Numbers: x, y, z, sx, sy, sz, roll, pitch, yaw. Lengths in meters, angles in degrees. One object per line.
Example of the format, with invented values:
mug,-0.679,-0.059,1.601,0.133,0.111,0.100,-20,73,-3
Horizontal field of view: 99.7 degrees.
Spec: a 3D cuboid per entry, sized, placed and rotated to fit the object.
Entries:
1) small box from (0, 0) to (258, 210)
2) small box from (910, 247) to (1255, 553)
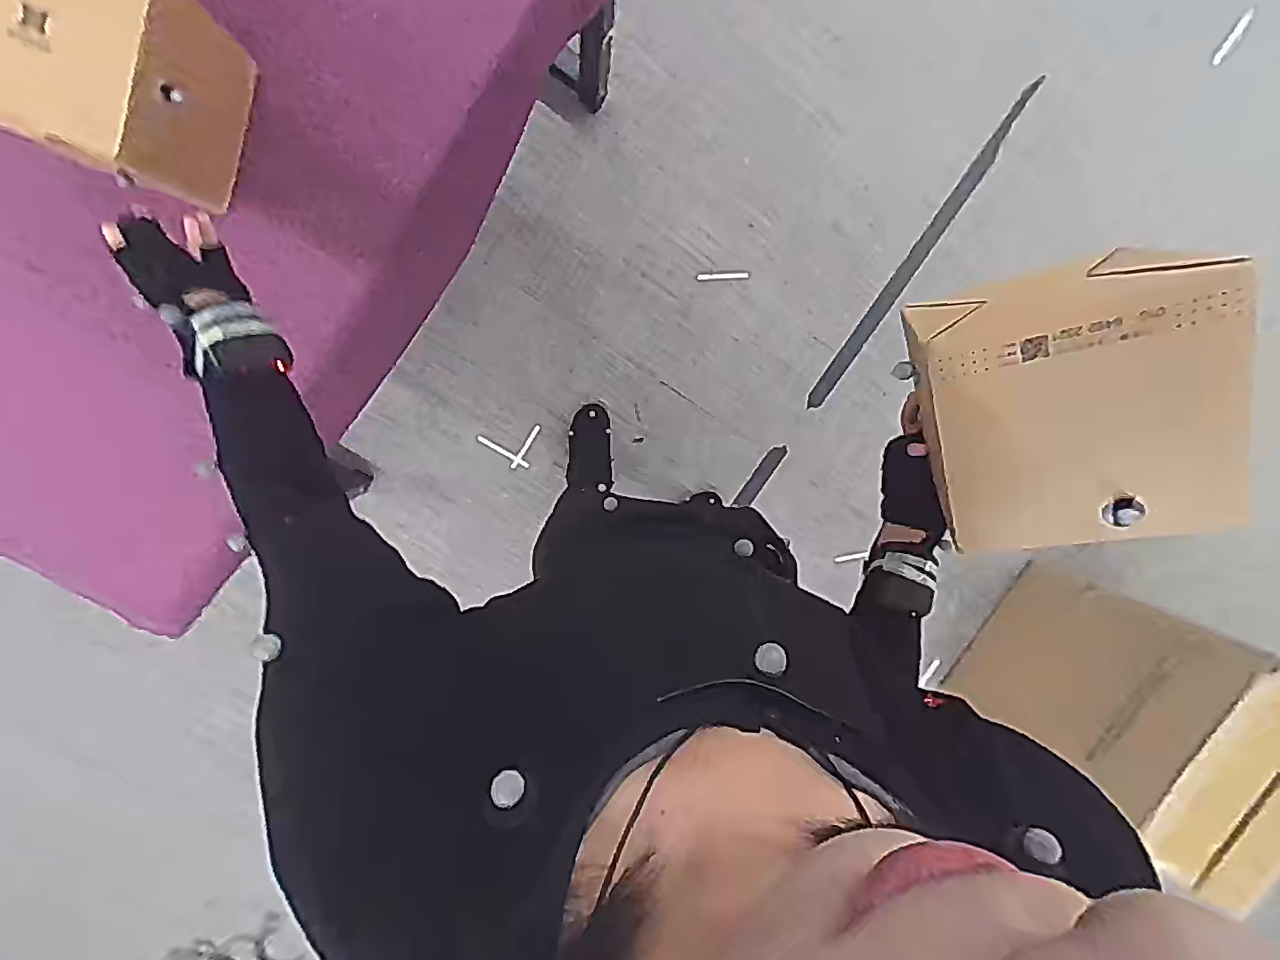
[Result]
small box,-0.537,-0.411,0.558,0.168,0.176,0.179,17,98,-10
small box,0.313,-0.067,0.413,0.168,0.179,0.176,-11,111,26
